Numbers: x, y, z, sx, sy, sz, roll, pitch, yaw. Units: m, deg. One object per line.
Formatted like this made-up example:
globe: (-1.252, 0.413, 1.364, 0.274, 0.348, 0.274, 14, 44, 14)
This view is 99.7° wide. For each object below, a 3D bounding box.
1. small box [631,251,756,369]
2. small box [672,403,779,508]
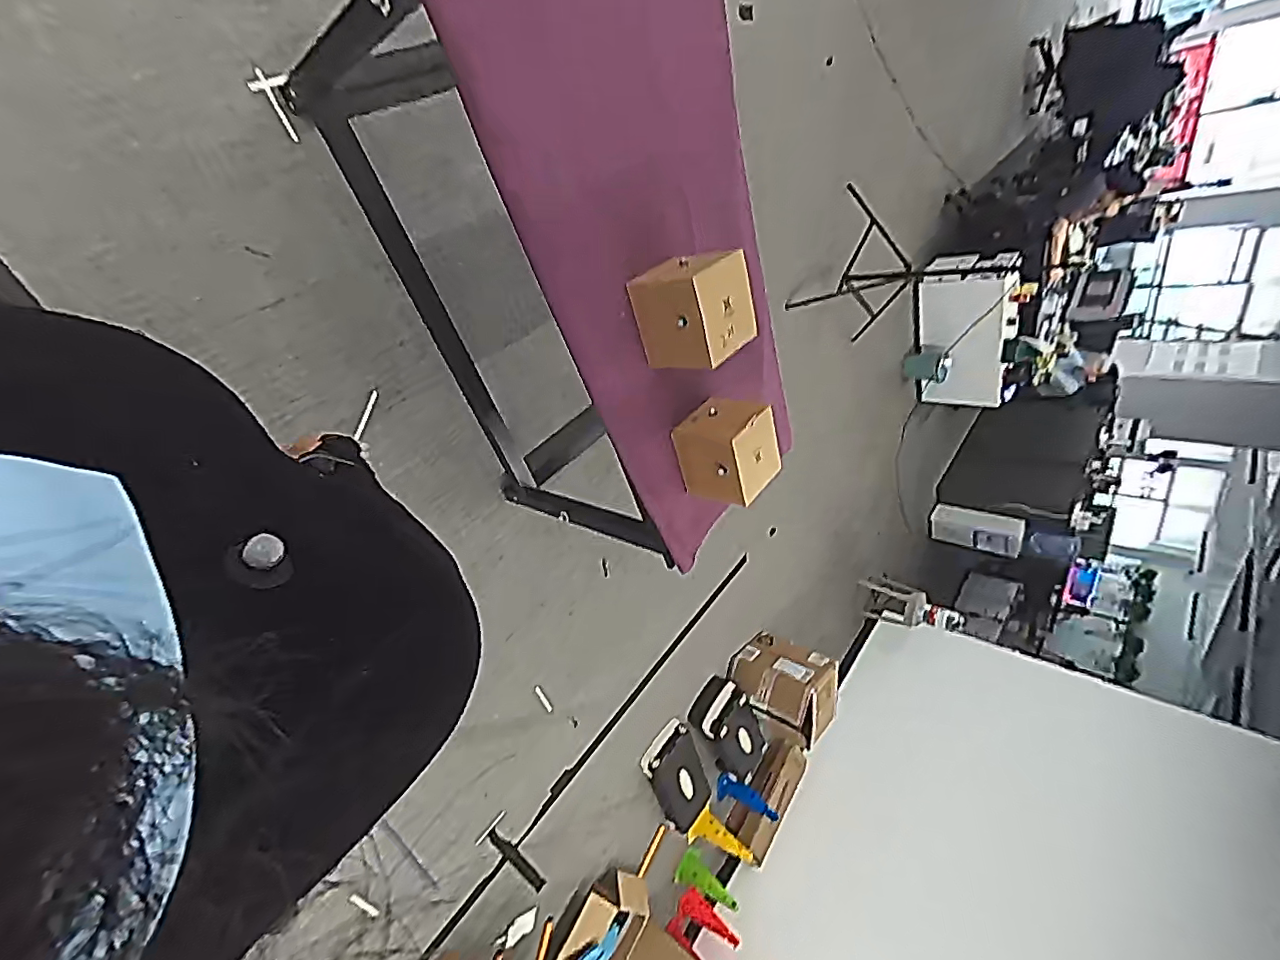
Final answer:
small box: (0.105, -0.335, 1.076, 0.168, 0.176, 0.179, -40, 127, -33)
small box: (0.198, -0.063, 1.251, 0.168, 0.176, 0.179, -41, 127, -34)
